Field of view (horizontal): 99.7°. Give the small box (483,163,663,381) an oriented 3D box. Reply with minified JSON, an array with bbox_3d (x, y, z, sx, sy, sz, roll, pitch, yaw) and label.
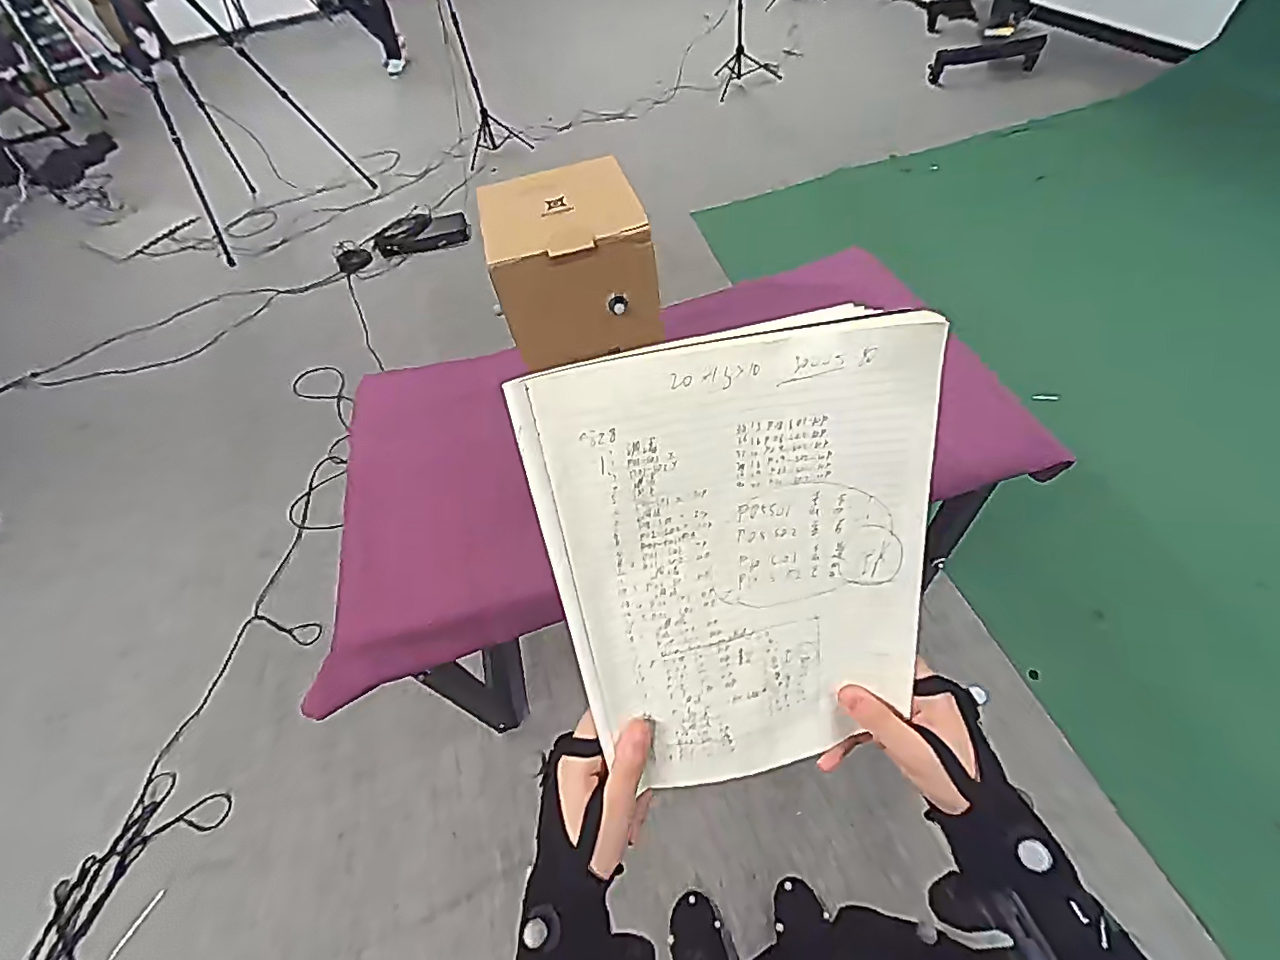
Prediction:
[{"bbox_3d":[-0.075,-0.237,0.642,0.168,0.176,0.179,-15,52,-3],"label":"small box"}]

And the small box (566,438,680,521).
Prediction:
[{"bbox_3d":[-0.035,-0.050,0.908,0.168,0.176,0.179,-16,53,-3],"label":"small box"}]

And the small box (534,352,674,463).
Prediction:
[{"bbox_3d":[-0.055,-0.143,0.774,0.168,0.176,0.179,-16,52,-3],"label":"small box"}]
